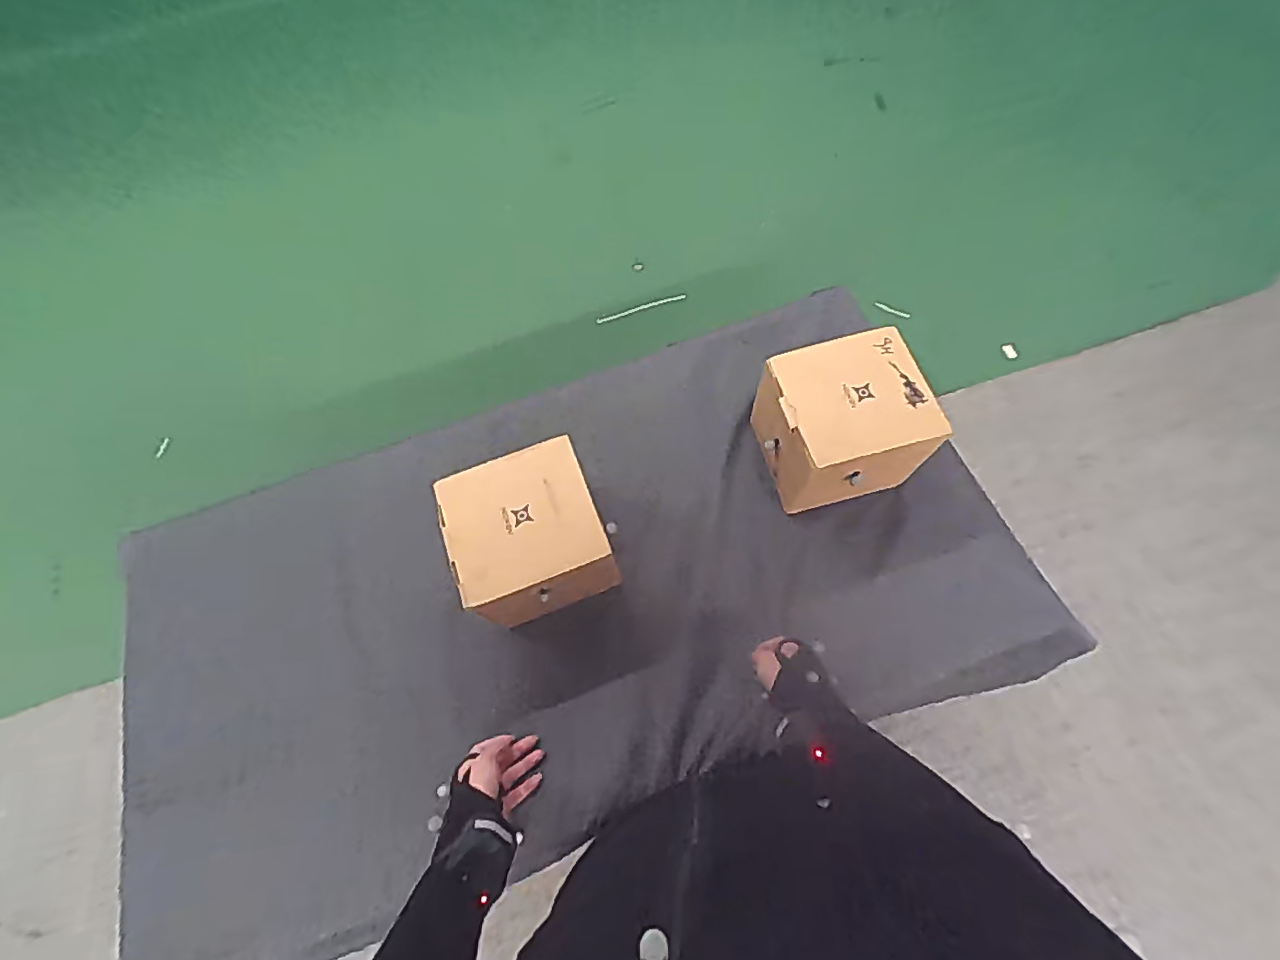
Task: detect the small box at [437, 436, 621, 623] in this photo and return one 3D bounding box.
[{"bbox_3d":[-0.135,0.074,0.707,0.179,0.176,0.168,-21,69,-6],"label":"small box"}]

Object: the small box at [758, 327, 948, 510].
[{"bbox_3d":[0.269,-0.074,0.739,0.179,0.176,0.168,-15,68,-2],"label":"small box"}]
